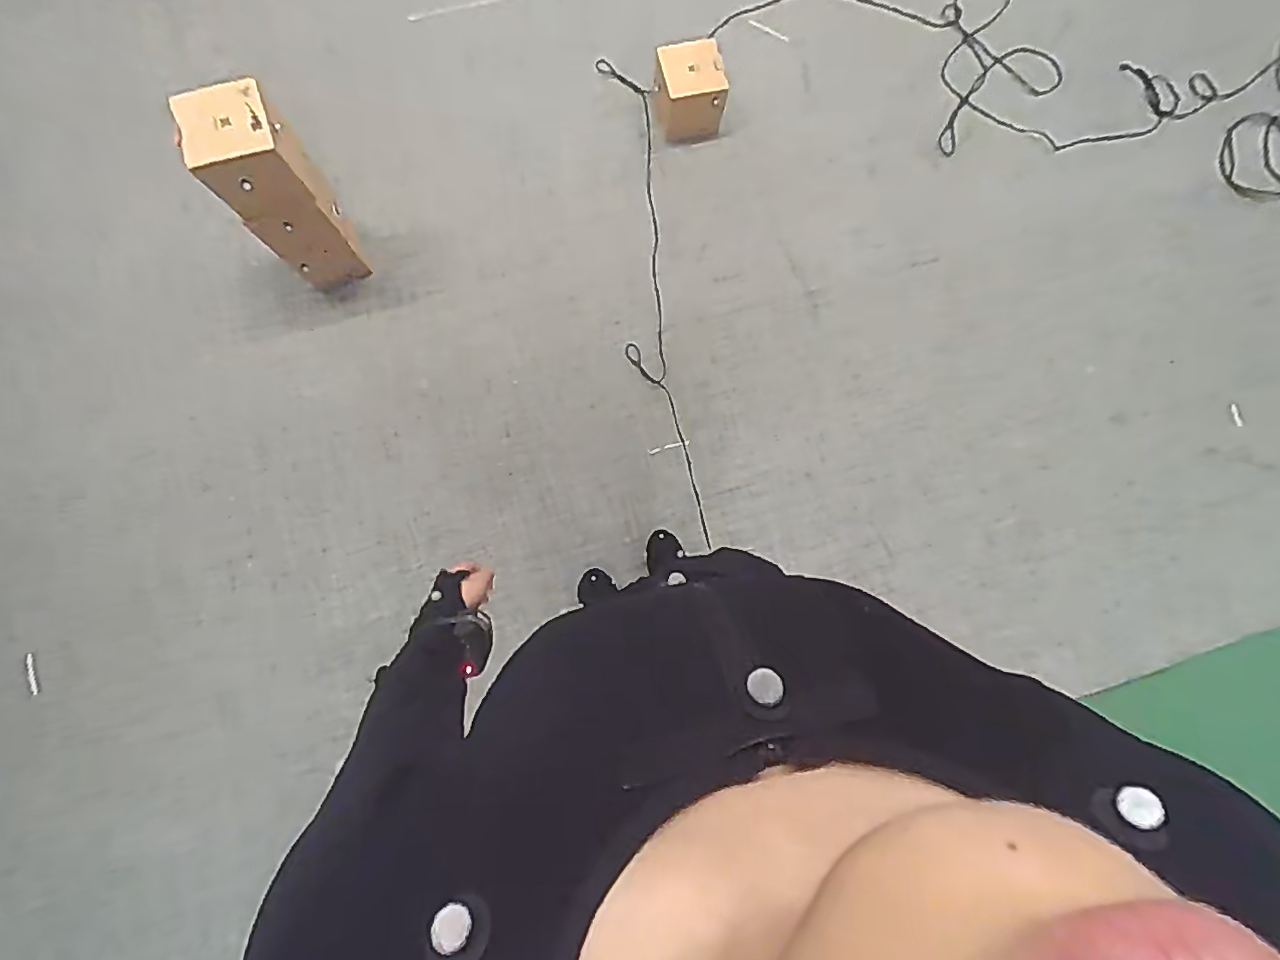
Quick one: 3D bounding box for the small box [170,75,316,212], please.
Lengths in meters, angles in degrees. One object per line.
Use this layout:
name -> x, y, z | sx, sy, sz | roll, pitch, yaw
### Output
small box -> -0.843, -0.712, 1.164 | 0.179, 0.176, 0.168 | -18, 84, -5

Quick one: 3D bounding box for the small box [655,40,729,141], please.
small box -> 0.145, -1.142, 1.597 | 0.179, 0.176, 0.168 | -14, 84, -5

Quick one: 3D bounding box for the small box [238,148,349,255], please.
small box -> -0.855, -0.682, 1.325 | 0.179, 0.176, 0.168 | -18, 84, -6
